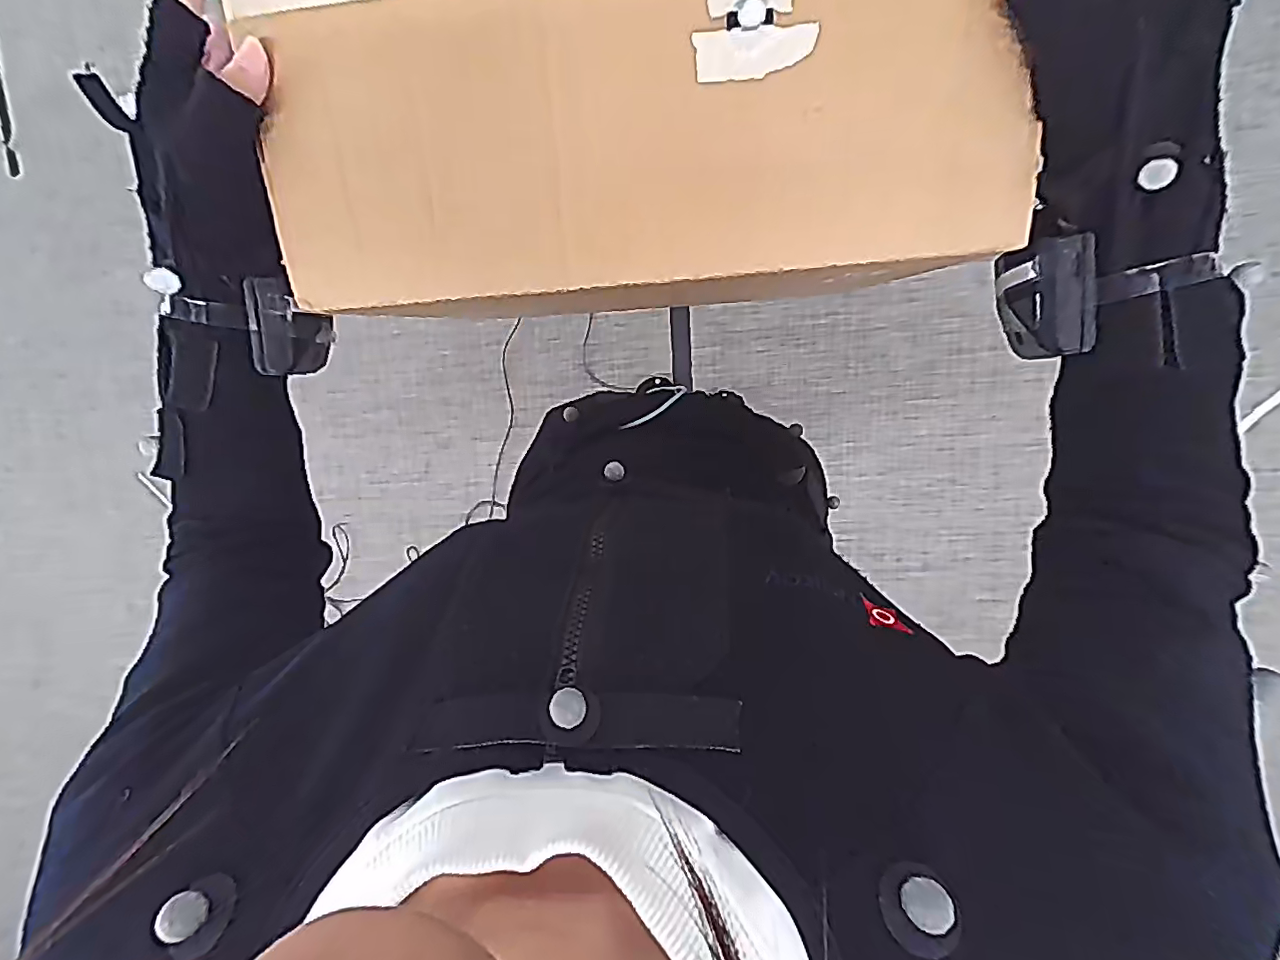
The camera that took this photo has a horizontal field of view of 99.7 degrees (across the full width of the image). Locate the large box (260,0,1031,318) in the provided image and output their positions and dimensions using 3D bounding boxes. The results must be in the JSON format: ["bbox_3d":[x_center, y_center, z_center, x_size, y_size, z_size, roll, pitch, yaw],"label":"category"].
[{"bbox_3d":[0.002,-0.307,0.415,0.408,0.320,0.320,-3,106,6],"label":"large box"}]
